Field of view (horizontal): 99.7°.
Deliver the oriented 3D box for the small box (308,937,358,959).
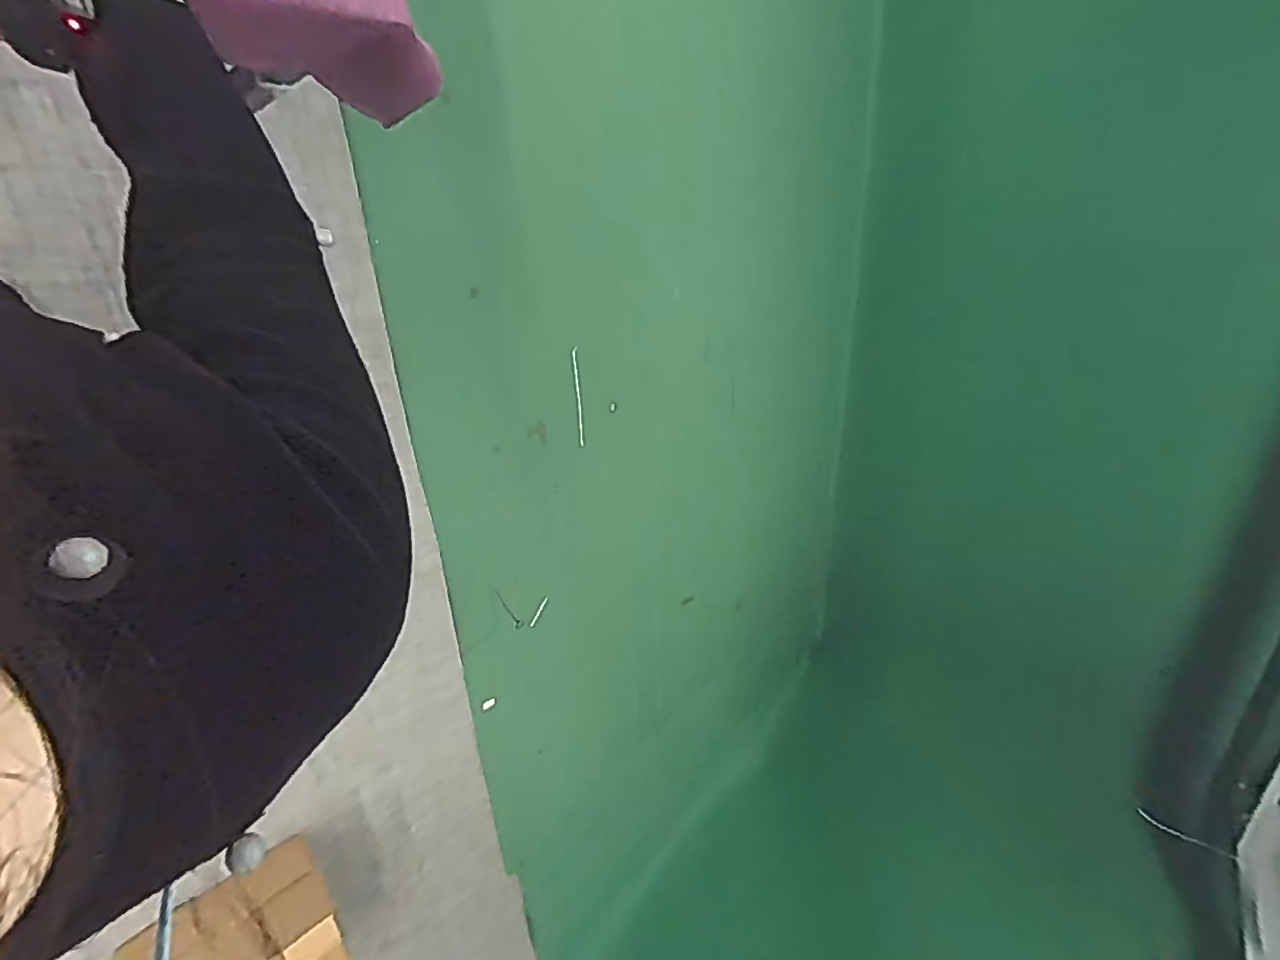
[{"bbox_3d":[-0.783,1.315,1.352,0.168,0.176,0.179,-18,119,-46],"label":"small box"}]
